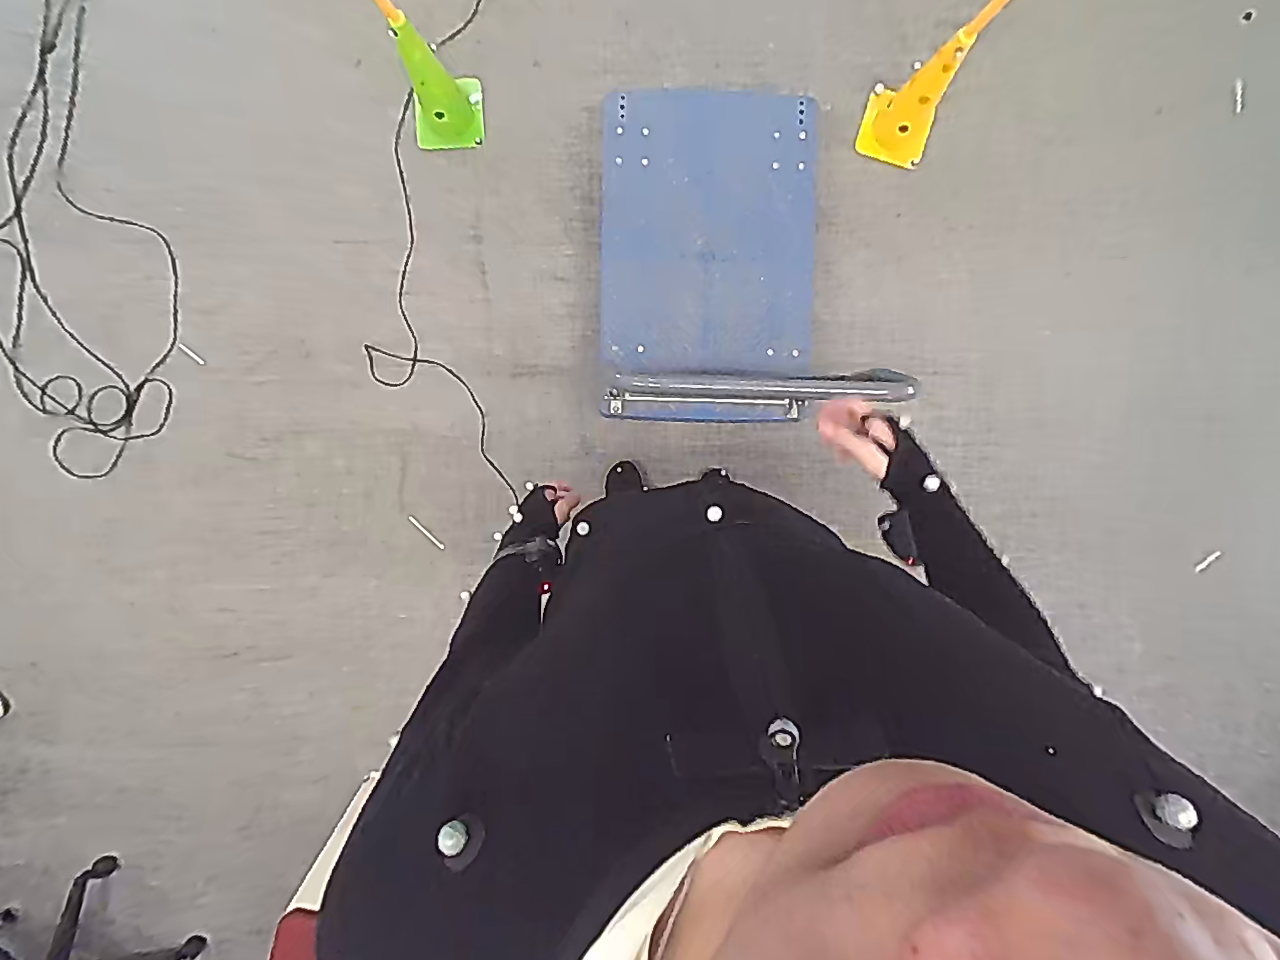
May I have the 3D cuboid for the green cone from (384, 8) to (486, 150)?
[{"bbox_3d":[-0.564,-1.081,1.427,0.202,0.368,0.200,-3,91,2],"label":"green cone"}]
